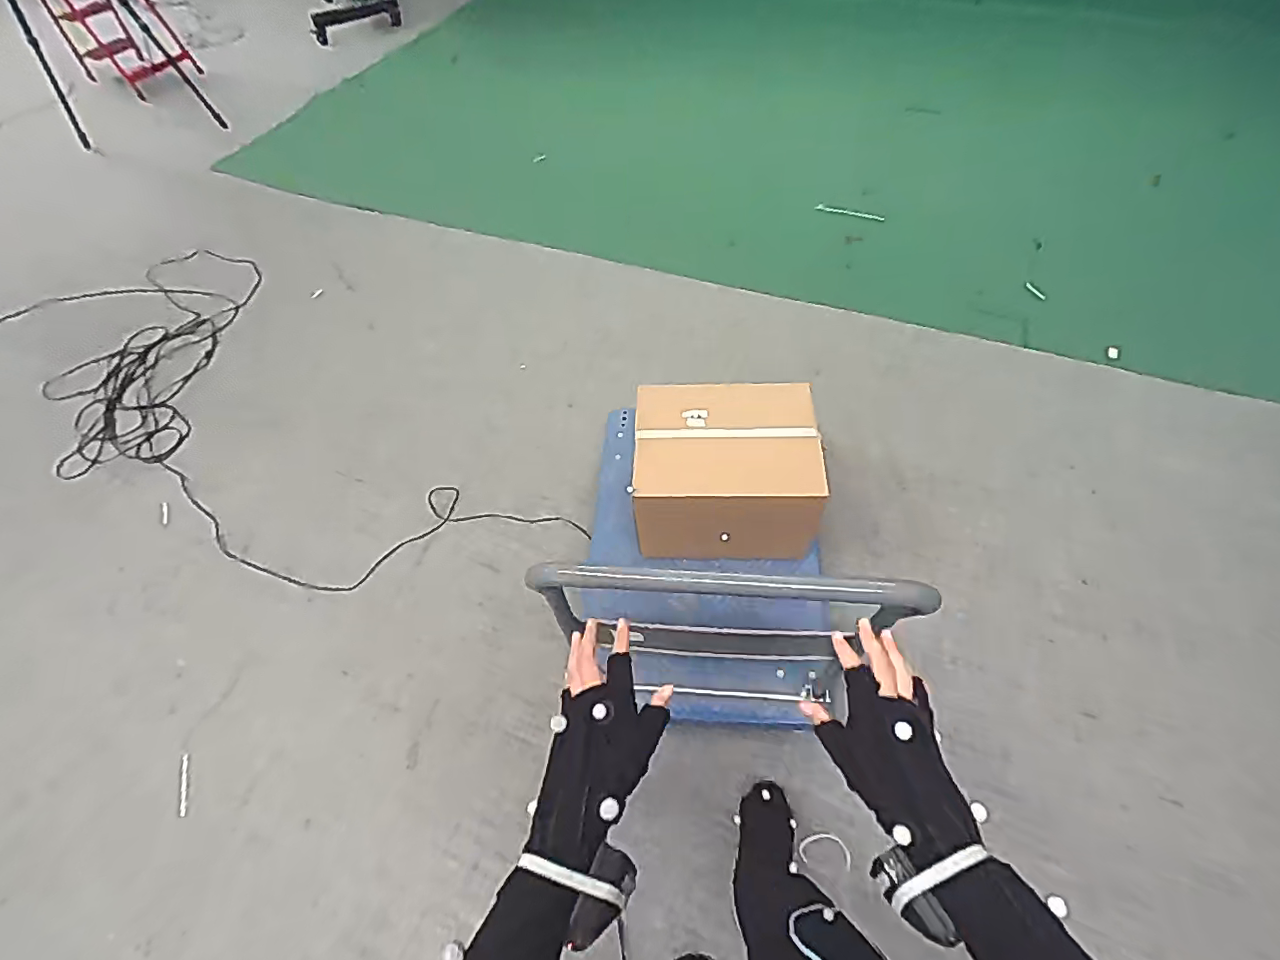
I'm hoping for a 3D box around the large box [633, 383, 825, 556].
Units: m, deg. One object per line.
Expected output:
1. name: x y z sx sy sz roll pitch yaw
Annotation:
1. large box: 0.198 -0.015 1.329 0.408 0.320 0.320 -1 57 4
